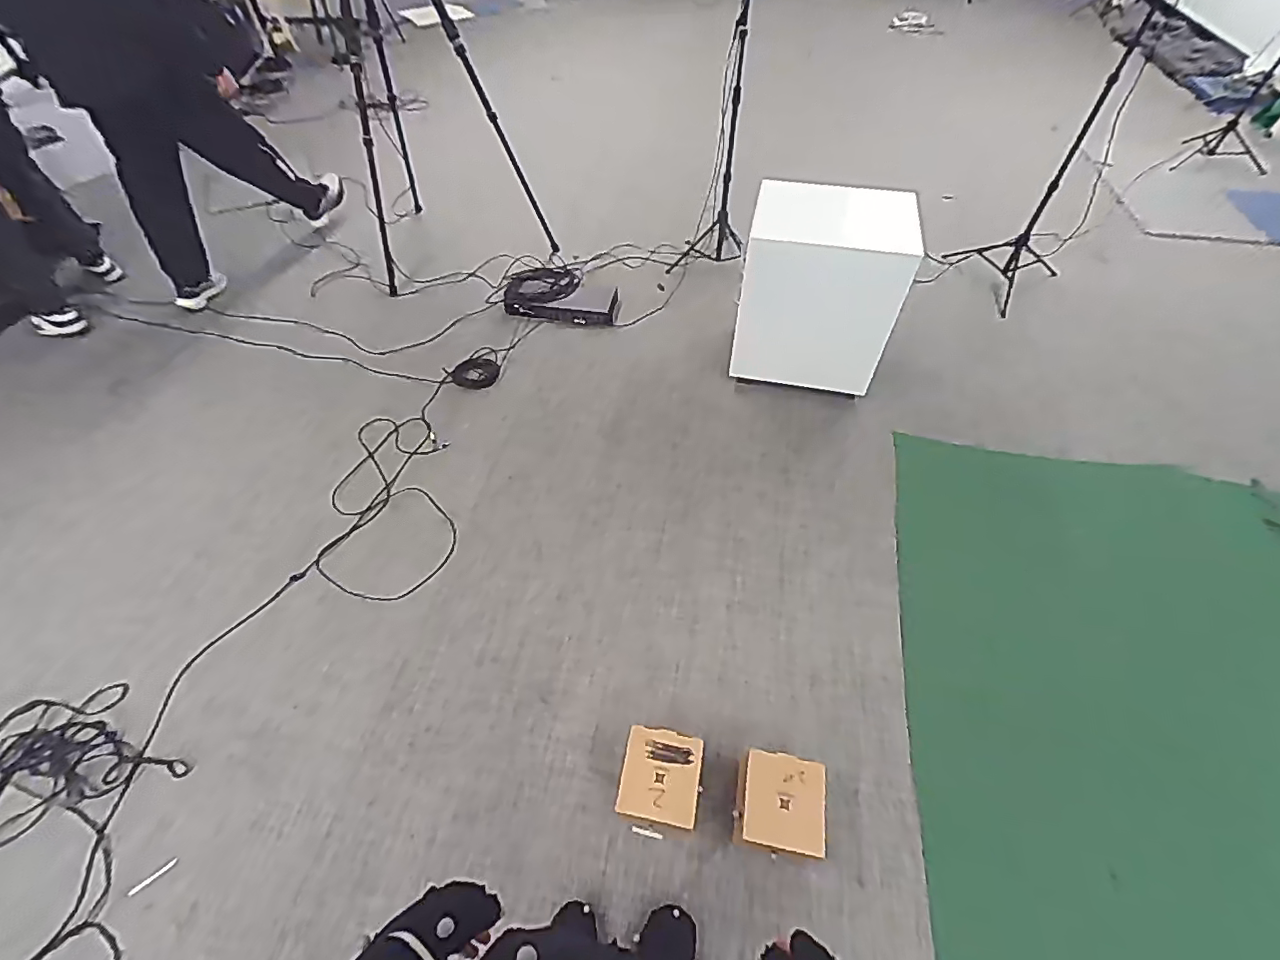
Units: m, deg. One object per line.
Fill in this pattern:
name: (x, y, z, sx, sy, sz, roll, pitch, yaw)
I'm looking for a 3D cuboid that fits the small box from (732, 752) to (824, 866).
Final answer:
small box: (0.298, 0.721, 1.179, 0.168, 0.176, 0.179, 9, 52, 7)
